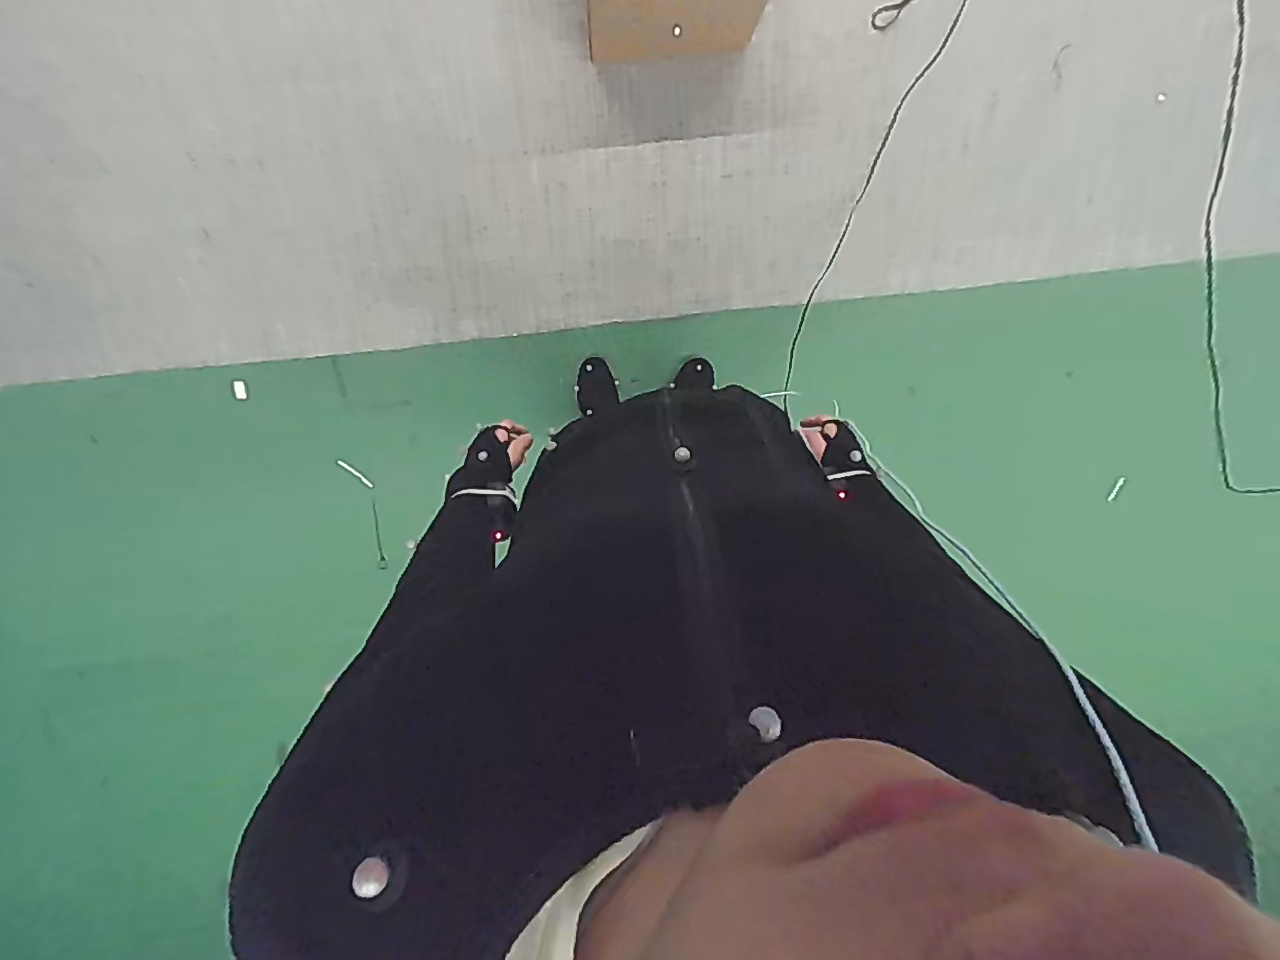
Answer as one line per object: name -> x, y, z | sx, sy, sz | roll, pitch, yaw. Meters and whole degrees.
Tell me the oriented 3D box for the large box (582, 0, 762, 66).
large box -> 0.058, -1.206, 1.222 | 0.408, 0.320, 0.320 | -8, 103, 0
